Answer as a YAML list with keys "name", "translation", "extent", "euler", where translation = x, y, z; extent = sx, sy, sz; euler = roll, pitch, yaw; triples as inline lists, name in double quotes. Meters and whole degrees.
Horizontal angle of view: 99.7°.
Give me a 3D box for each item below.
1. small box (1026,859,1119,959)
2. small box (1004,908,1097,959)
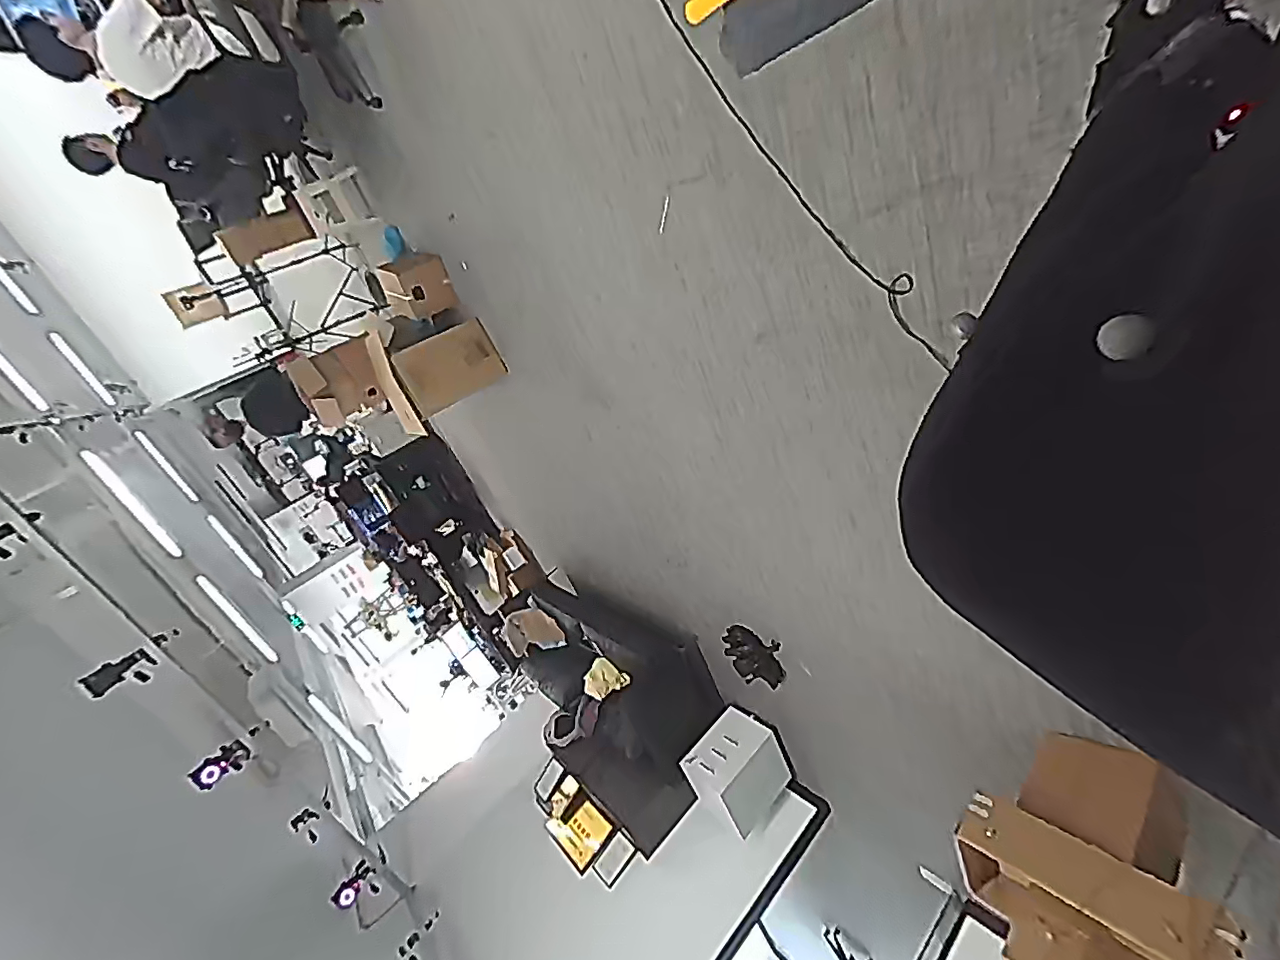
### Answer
- name: "small box"
  translation: [1.273, 1.277, 1.587]
  extent: [0.168, 0.176, 0.179]
  euler: [1, 123, 55]
- name: "small box"
  translation: [1.158, 1.368, 1.512]
  extent: [0.168, 0.176, 0.179]
  euler: [0, 123, 55]
